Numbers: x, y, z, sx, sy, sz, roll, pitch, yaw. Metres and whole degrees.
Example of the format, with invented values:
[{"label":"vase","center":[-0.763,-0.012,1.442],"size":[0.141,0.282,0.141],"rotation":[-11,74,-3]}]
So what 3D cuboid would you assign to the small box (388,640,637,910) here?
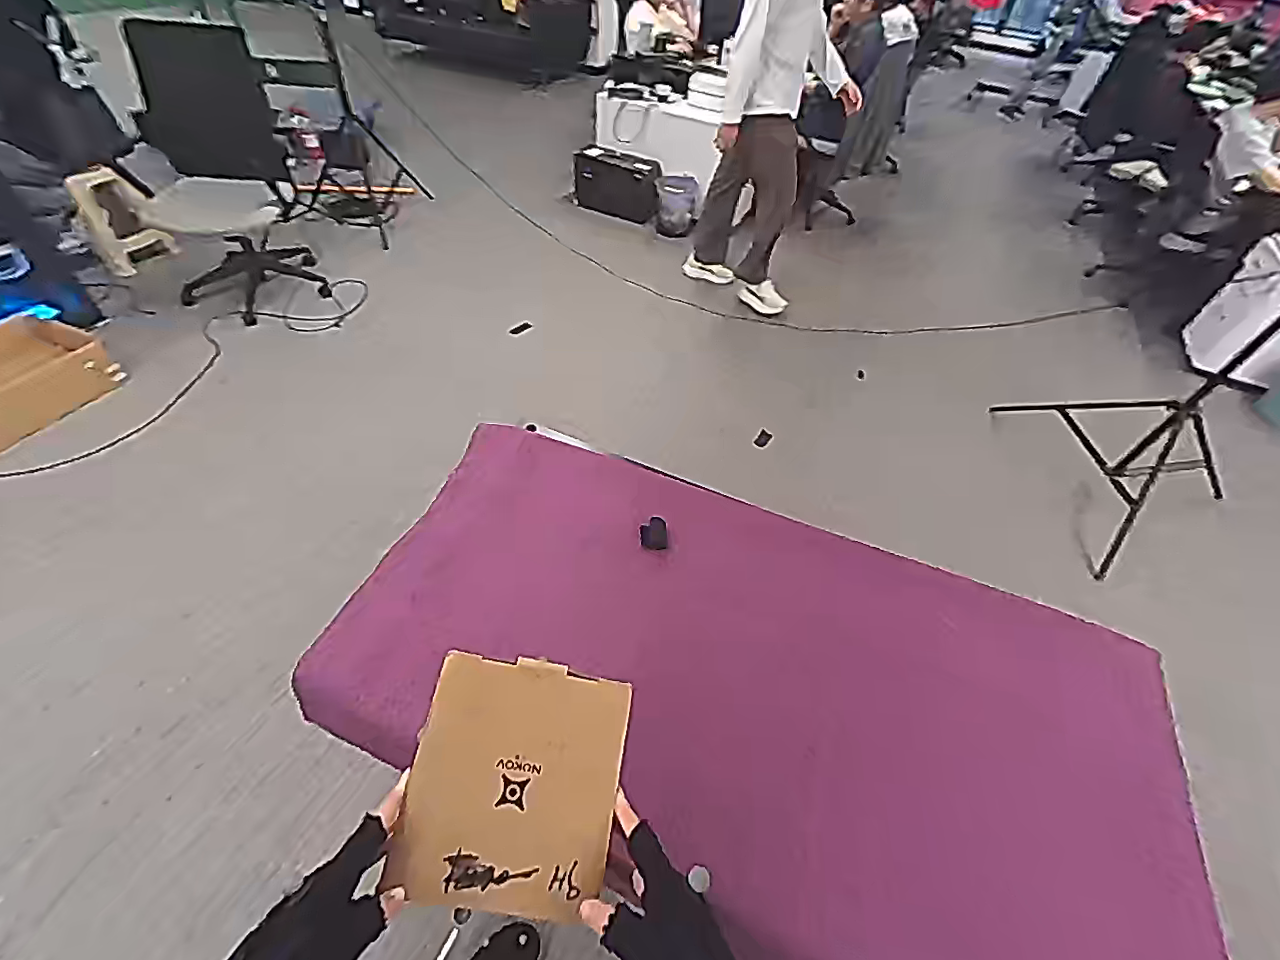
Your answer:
[{"label":"small box","center":[-0.111,0.265,0.512],"size":[0.168,0.176,0.179],"rotation":[13,65,-6]}]
